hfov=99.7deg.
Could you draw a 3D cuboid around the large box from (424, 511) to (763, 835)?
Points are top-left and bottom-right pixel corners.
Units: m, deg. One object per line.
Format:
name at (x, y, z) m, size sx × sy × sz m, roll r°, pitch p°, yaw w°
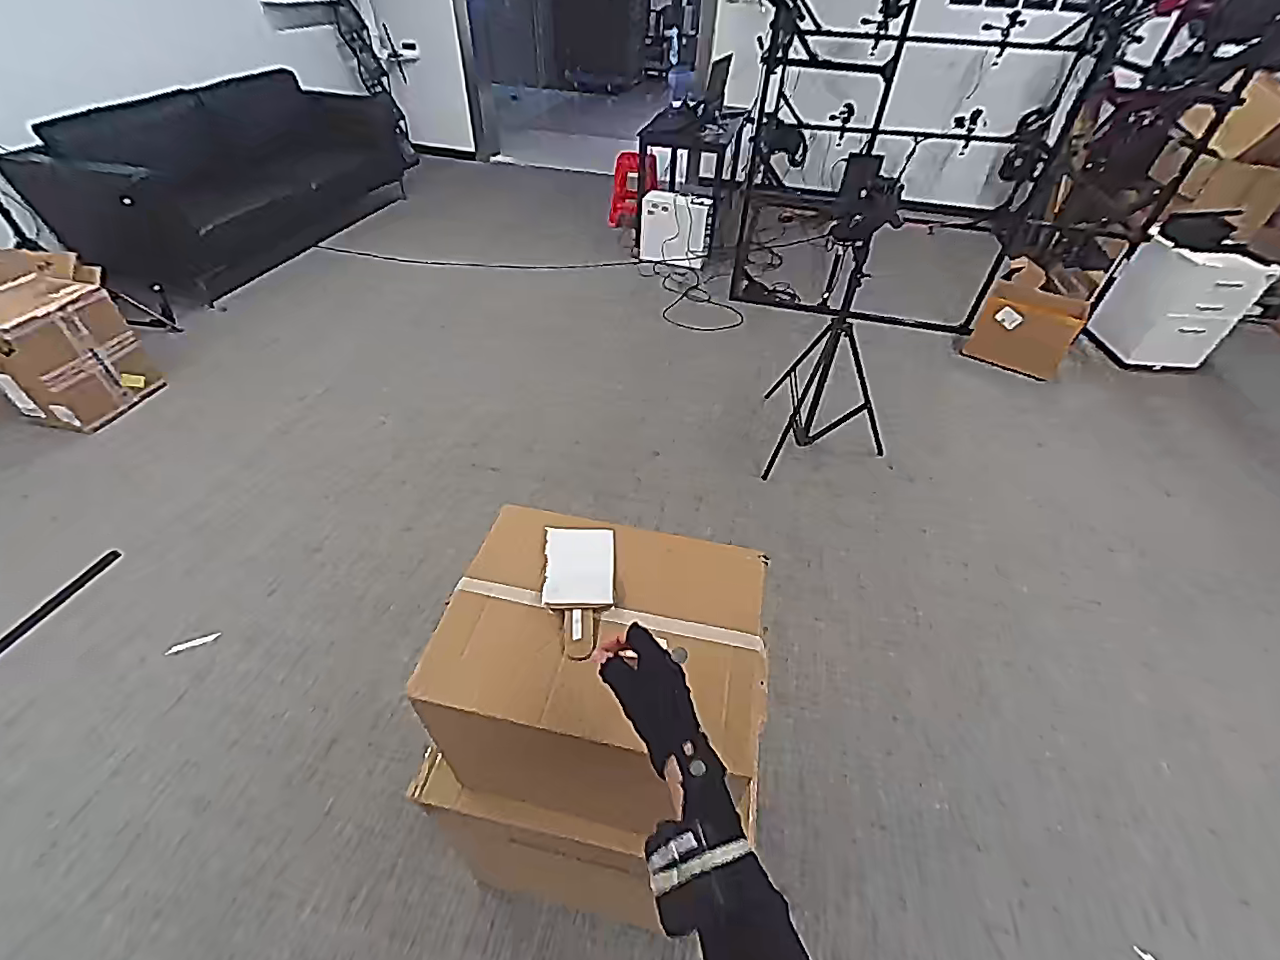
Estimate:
large box at (-0.046, 0.289, 0.827) m, size 0.408 × 0.320 × 0.320 m, roll 10°, pitch 44°, yaw 6°
